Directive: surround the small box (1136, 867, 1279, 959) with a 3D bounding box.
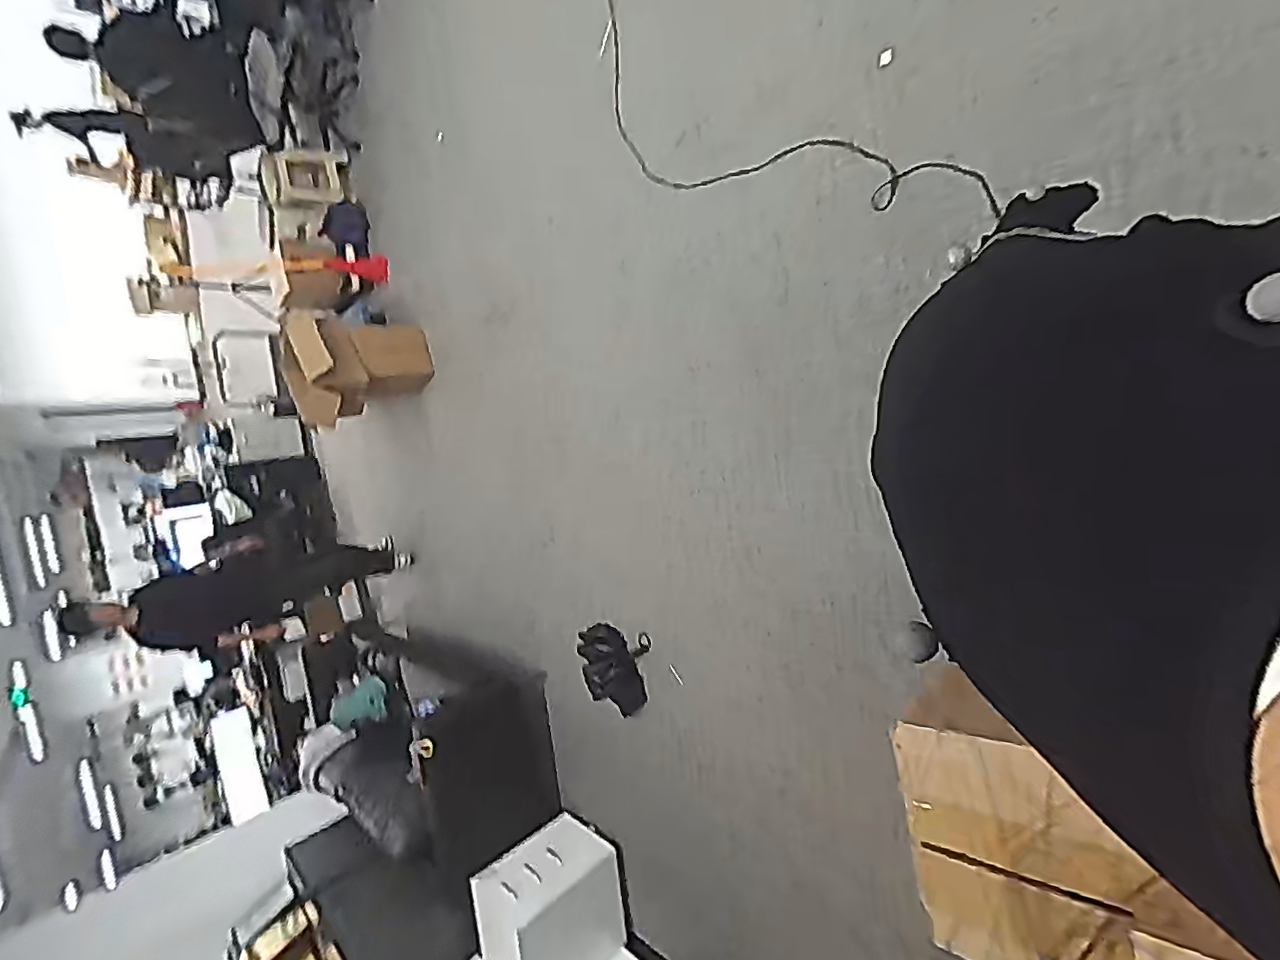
[{"bbox_3d":[0.658,0.555,0.570,0.179,0.176,0.168,-10,82,47],"label":"small box"}]
